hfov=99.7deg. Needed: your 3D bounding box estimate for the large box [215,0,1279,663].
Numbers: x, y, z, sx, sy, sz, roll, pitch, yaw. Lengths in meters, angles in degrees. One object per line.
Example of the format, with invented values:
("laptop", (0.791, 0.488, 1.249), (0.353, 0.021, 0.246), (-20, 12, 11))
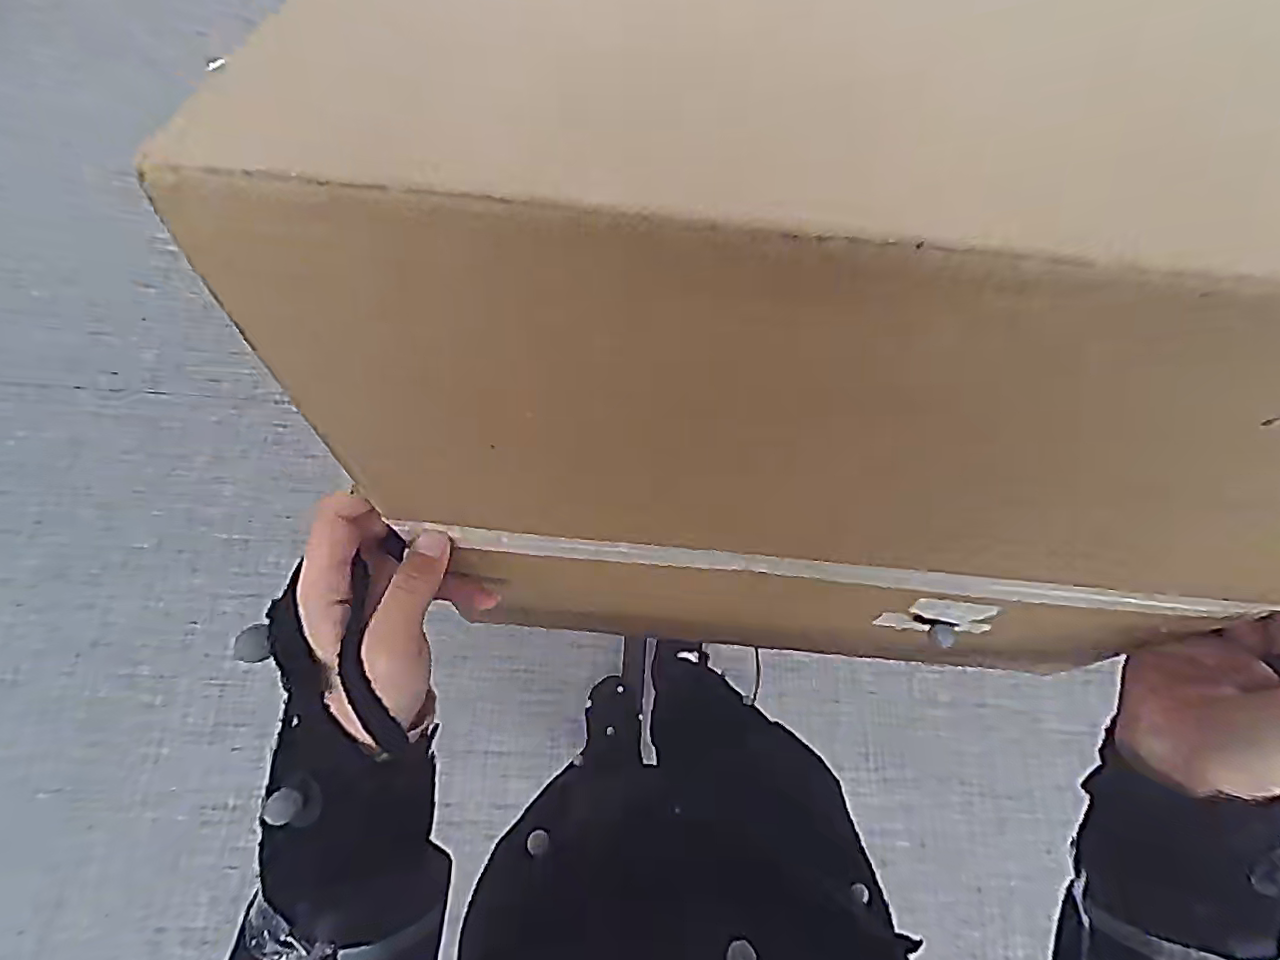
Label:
("large box", (0.097, -0.092, 0.328), (0.408, 0.320, 0.320), (5, 60, -1))
